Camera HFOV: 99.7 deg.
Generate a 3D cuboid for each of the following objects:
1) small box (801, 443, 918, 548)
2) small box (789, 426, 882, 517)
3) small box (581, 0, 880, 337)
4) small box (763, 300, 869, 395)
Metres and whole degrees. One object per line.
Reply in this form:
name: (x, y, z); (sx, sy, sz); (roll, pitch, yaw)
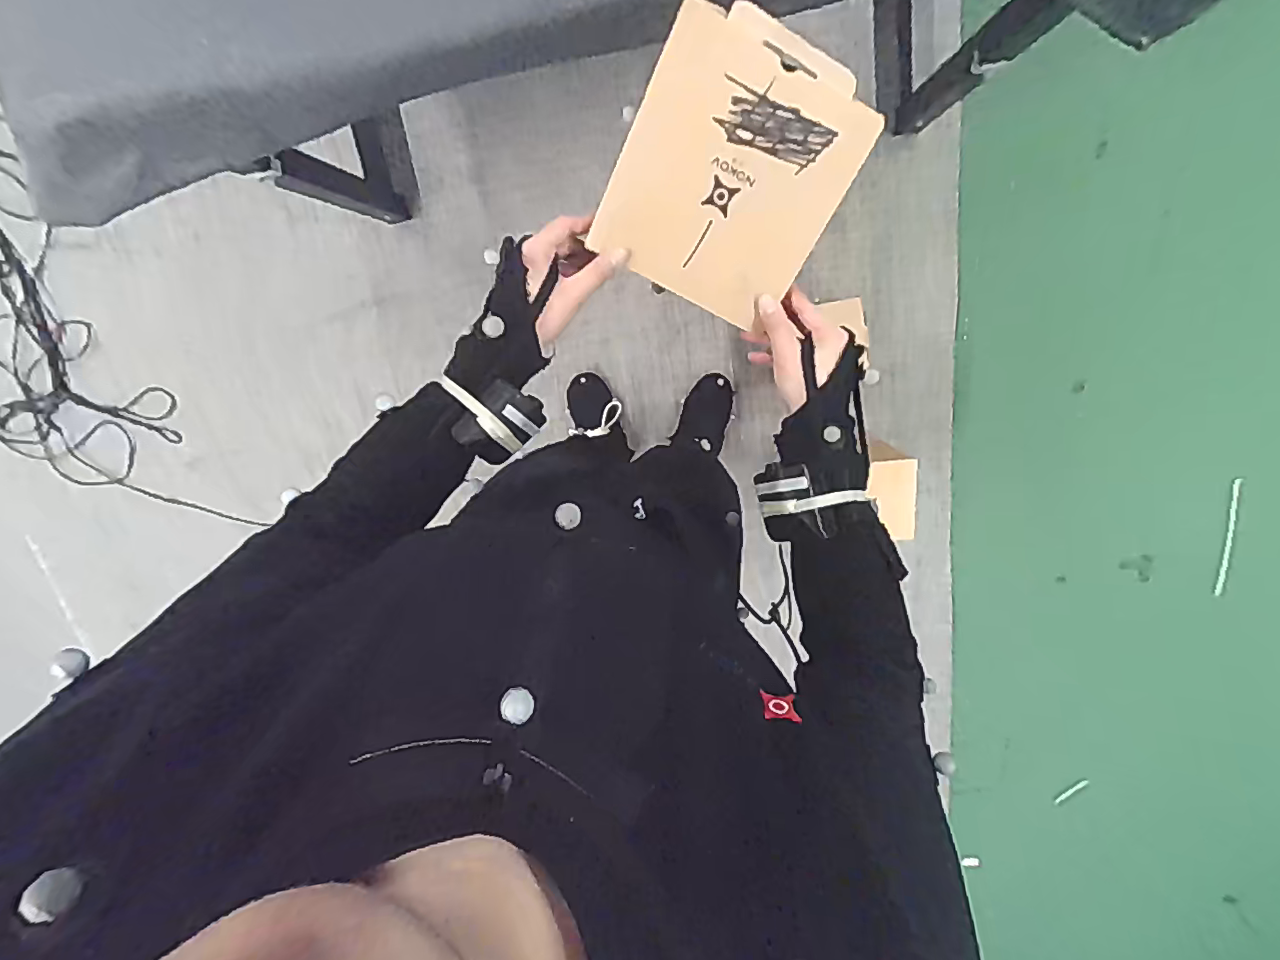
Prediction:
small box: (0.437, 0.025, 1.100); (0.179, 0.176, 0.168); (-5, 106, 5)
small box: (0.445, -0.023, 1.255); (0.179, 0.176, 0.168); (-5, 107, 6)
small box: (0.062, -0.255, 0.473); (0.168, 0.176, 0.179); (24, 114, -10)
small box: (0.379, -0.292, 1.182); (0.179, 0.176, 0.168); (-10, 105, 7)
